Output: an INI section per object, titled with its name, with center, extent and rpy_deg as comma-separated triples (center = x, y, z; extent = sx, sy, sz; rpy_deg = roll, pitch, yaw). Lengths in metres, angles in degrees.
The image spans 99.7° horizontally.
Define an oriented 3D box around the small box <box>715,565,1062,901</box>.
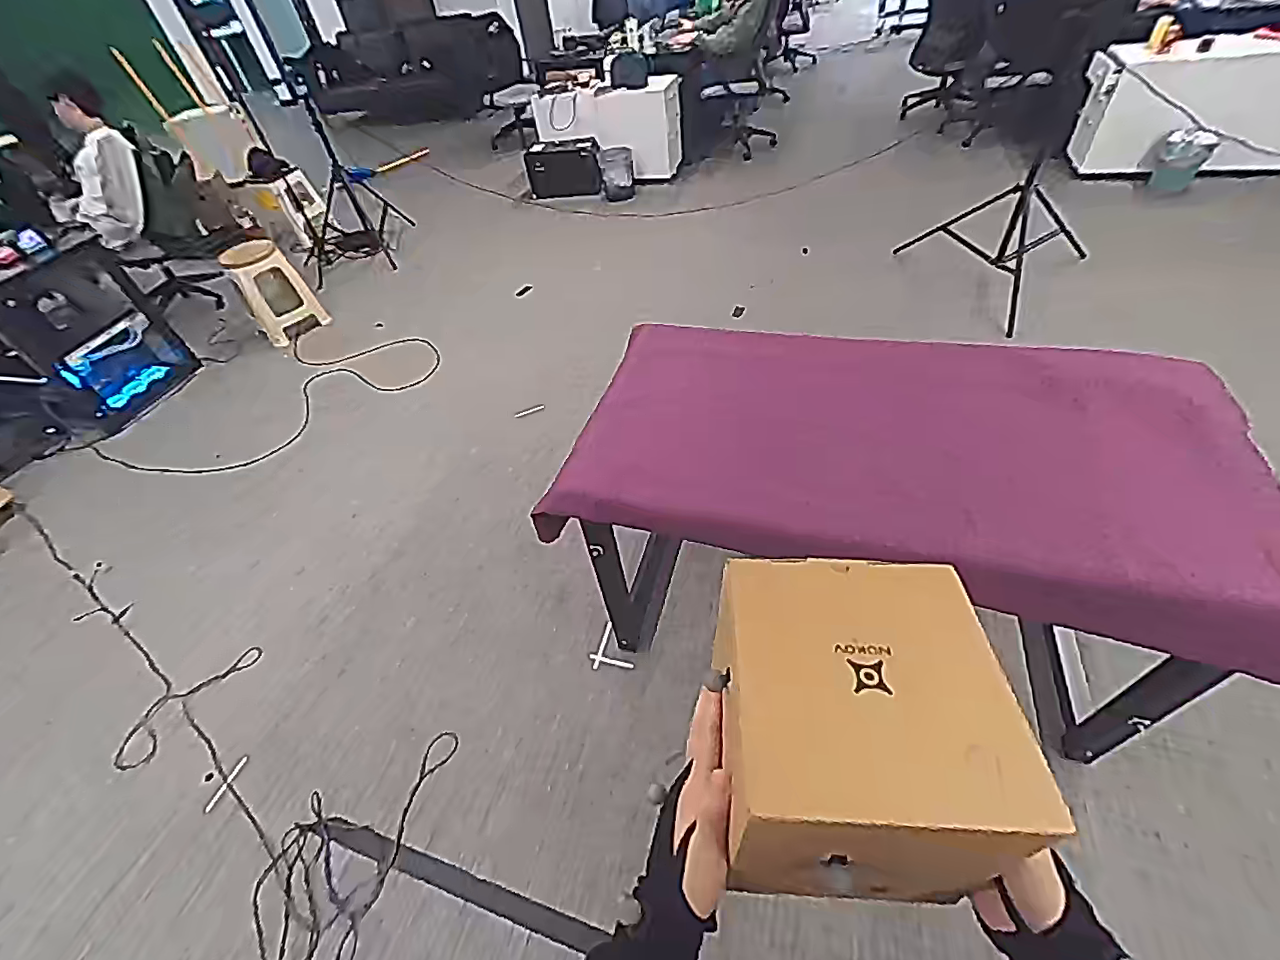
[small box]
center = 0.145, 0.183, 0.397
extent = 0.168, 0.176, 0.179
rpy_deg = 1, 41, 3
